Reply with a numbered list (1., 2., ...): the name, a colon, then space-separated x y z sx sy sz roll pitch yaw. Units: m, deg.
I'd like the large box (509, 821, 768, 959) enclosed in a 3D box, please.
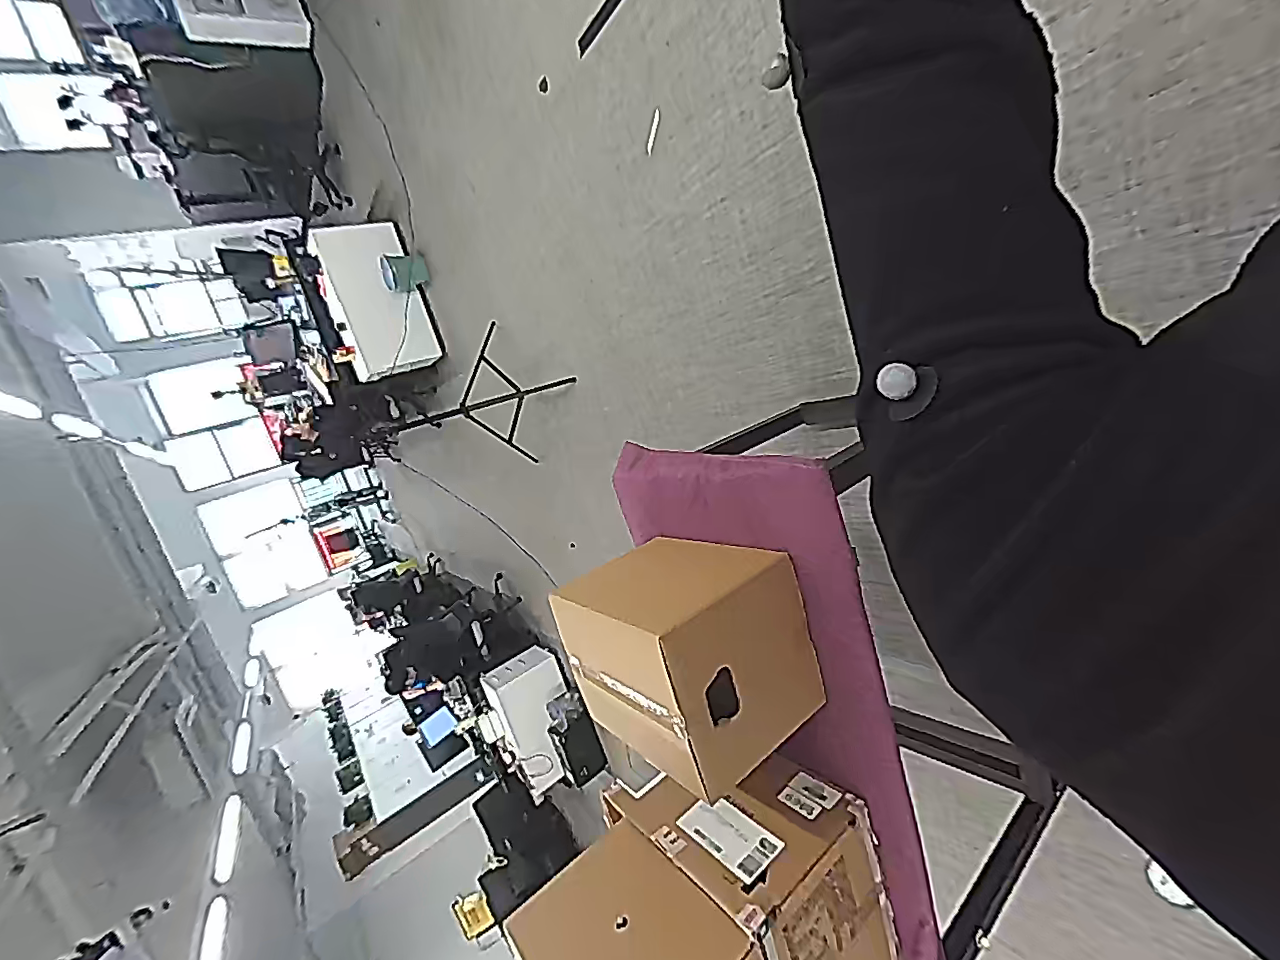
1. large box: 0.015 0.940 0.993 0.408 0.320 0.320 -2 110 56
